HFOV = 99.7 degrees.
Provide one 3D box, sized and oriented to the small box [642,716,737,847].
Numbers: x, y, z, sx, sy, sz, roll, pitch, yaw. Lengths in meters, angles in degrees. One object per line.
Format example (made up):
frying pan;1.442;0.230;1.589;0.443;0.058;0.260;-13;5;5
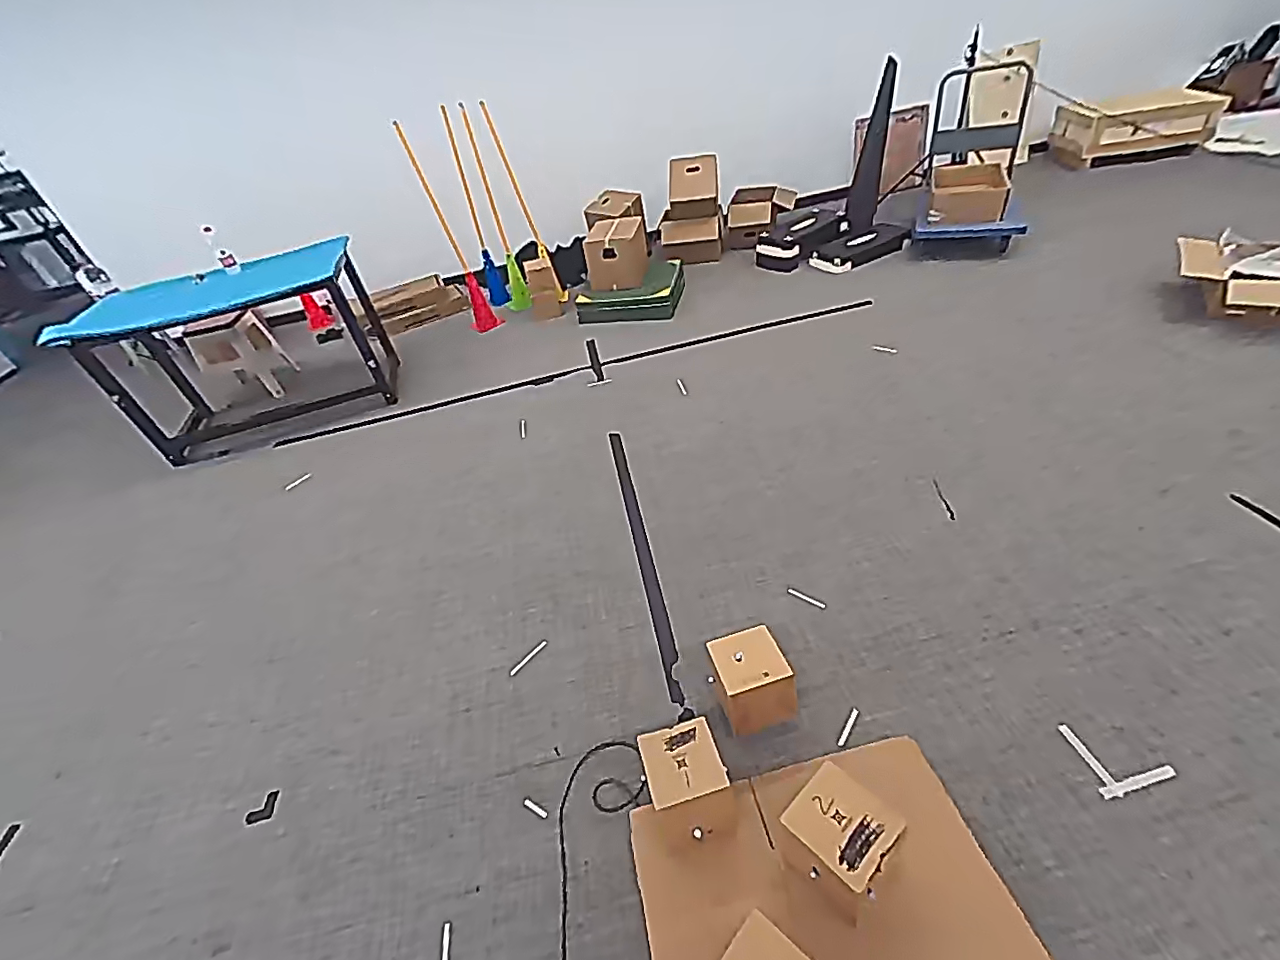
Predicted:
small box;0.110;0.679;1.221;0.168;0.176;0.179;-15;31;-6

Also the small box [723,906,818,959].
small box;0.219;0.883;0.905;0.168;0.176;0.179;24;47;40
